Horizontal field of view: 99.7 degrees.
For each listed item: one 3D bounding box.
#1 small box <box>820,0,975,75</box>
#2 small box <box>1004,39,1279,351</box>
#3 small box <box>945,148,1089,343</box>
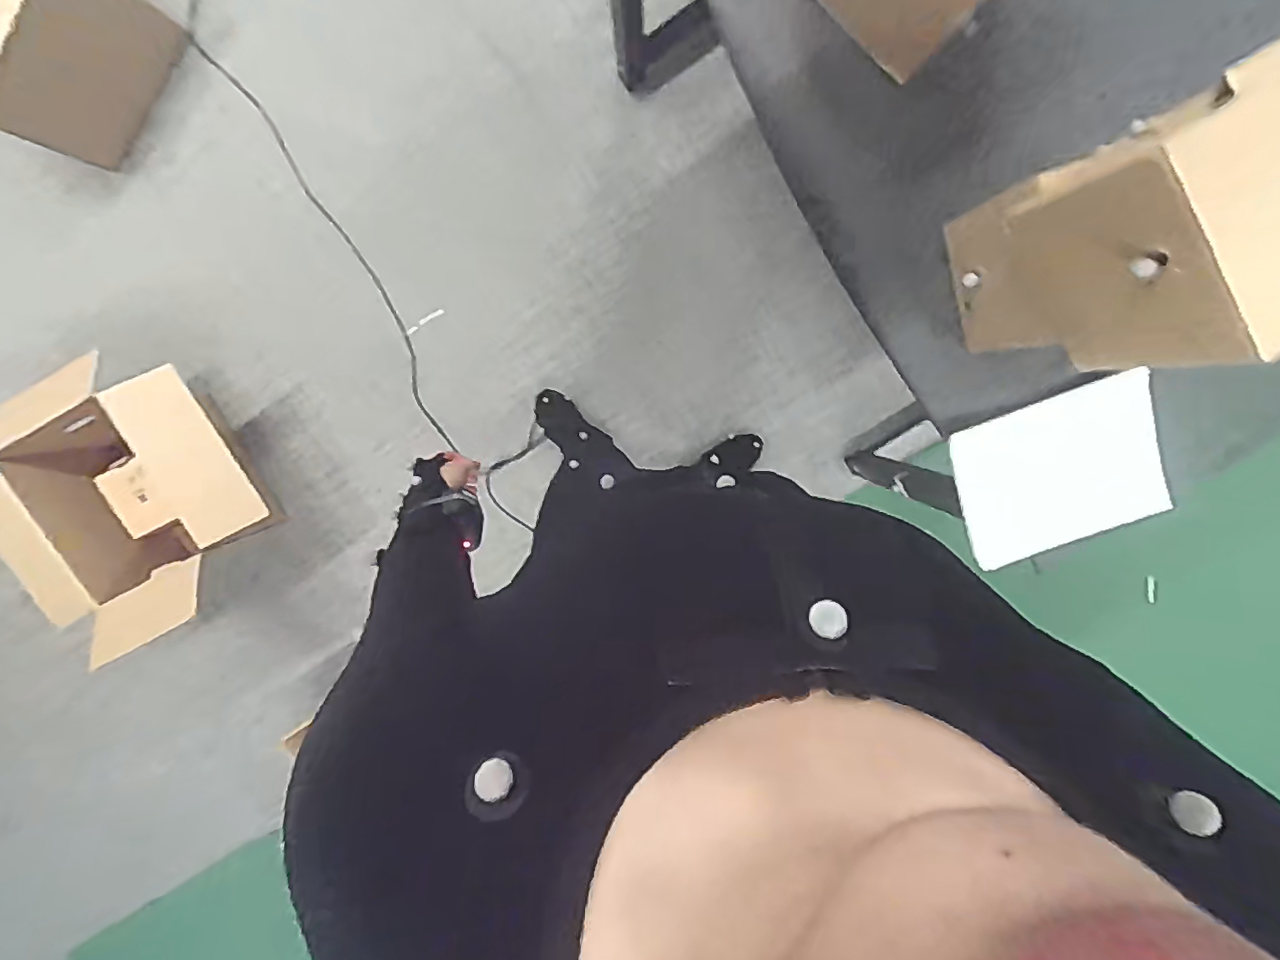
[{"bbox_3d":[0.302,-0.584,0.561,0.179,0.176,0.168,41,98,-6],"label":"small box"},{"bbox_3d":[0.460,-0.222,0.448,0.168,0.176,0.179,-33,96,6],"label":"small box"},{"bbox_3d":[0.484,-0.262,0.606,0.179,0.176,0.168,-17,98,4],"label":"small box"}]
